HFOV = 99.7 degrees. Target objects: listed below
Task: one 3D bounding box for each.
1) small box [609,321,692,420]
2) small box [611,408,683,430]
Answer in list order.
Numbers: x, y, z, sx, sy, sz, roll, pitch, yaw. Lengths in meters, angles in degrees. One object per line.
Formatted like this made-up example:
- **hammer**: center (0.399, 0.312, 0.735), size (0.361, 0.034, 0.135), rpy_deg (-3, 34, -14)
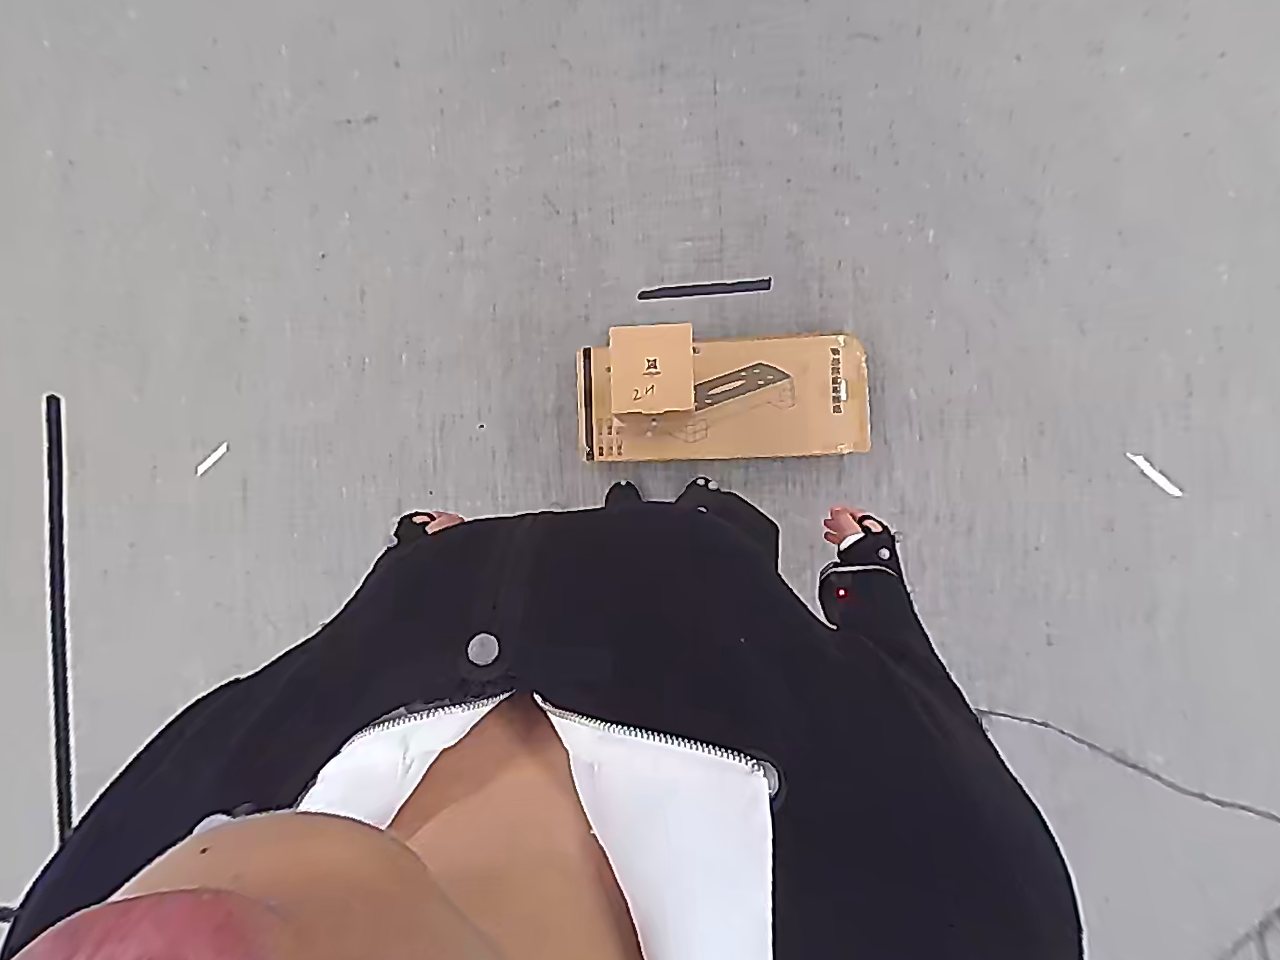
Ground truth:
- **small box**: center (0.024, -0.226, 1.148), size (0.168, 0.176, 0.179), rpy_deg (-1, 90, 4)
- **small box**: center (0.018, -0.218, 1.314), size (0.168, 0.176, 0.179), rpy_deg (-3, 91, 4)
